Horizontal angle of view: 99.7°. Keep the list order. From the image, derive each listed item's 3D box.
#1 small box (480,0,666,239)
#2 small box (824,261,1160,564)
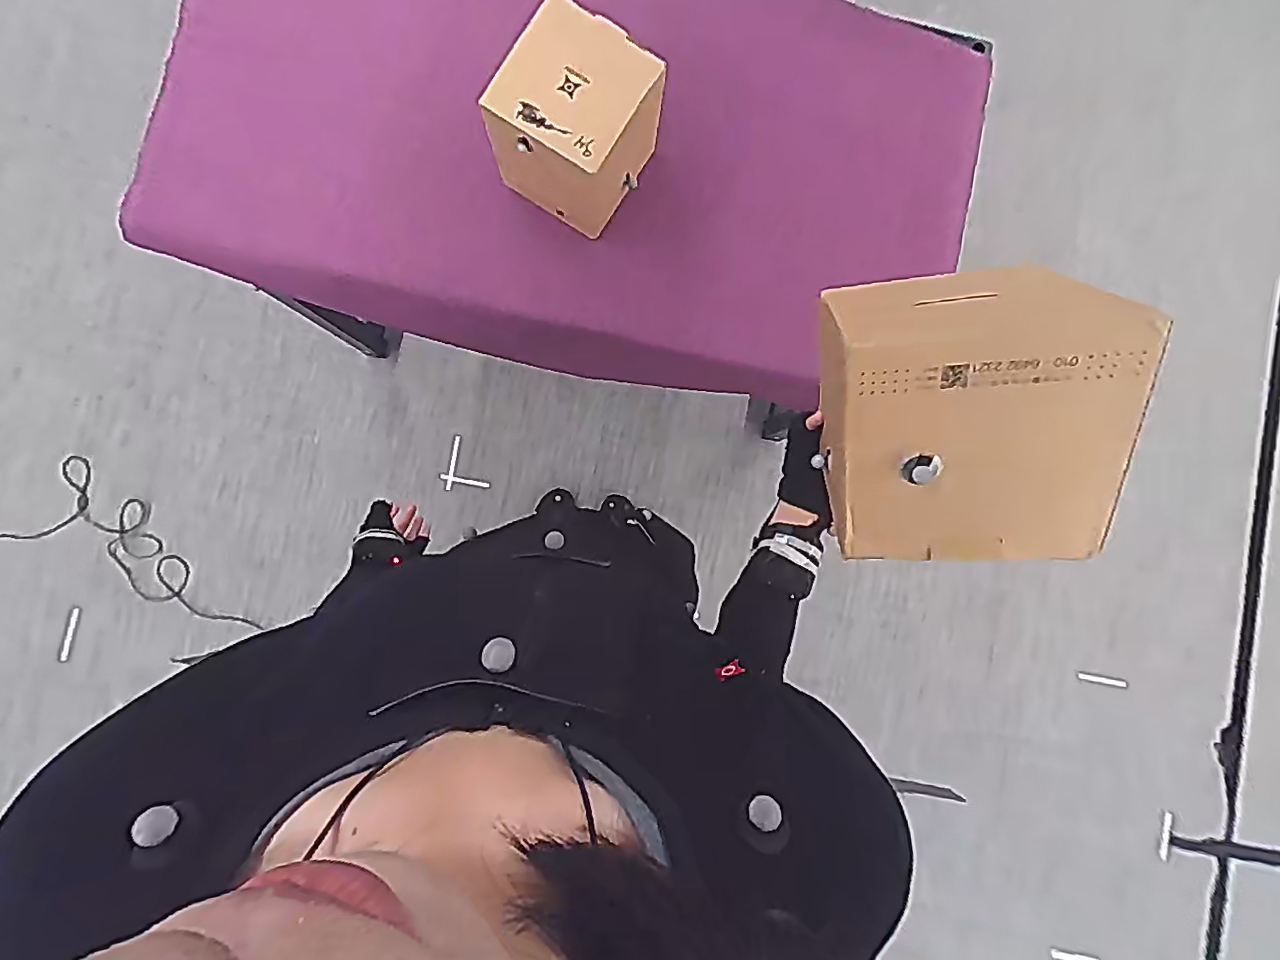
[{"bbox_3d":[-0.088,-0.473,0.732,0.168,0.176,0.179,32,85,-2],"label":"small box"},{"bbox_3d":[0.233,-0.056,0.406,0.168,0.179,0.176,-1,119,13],"label":"small box"}]
